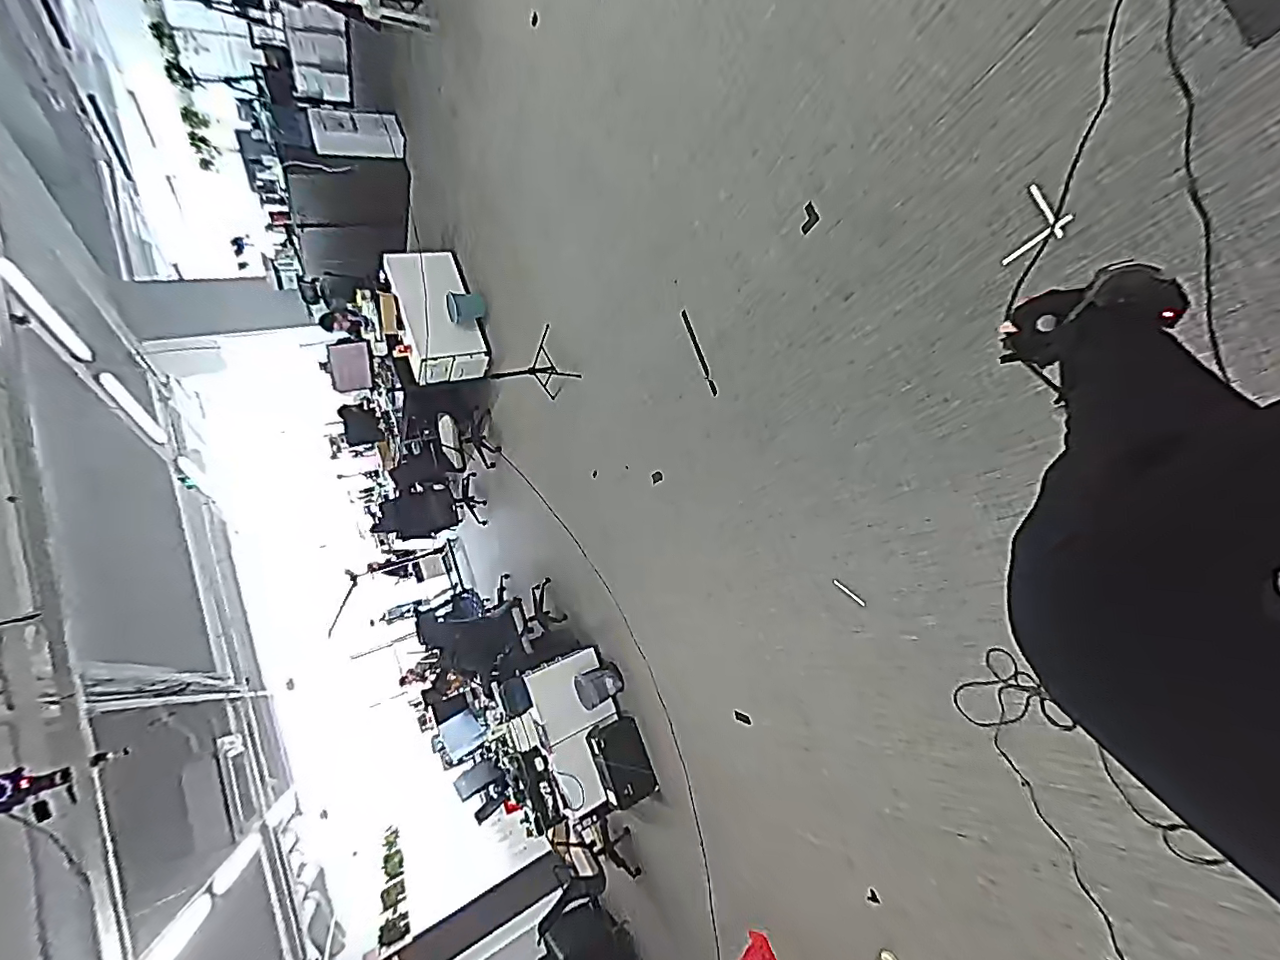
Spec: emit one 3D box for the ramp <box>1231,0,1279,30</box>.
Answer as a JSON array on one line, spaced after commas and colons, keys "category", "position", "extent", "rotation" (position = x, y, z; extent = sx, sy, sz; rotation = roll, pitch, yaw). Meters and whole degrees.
[{"category": "ramp", "position": [0.884, -1.240, 0.708], "extent": [0.509, 0.206, 0.991], "rotation": [-35, 74, 58]}]
